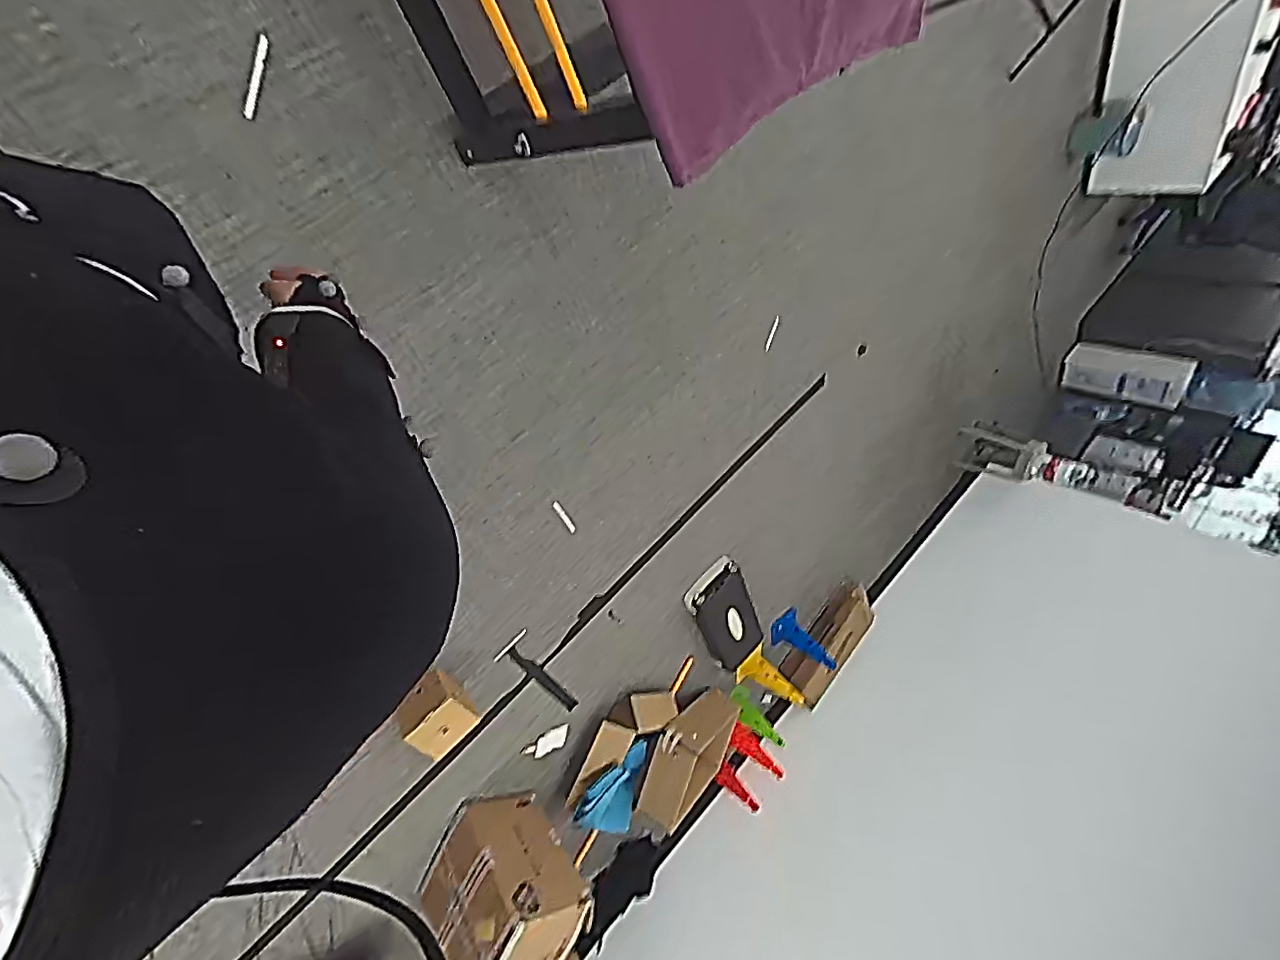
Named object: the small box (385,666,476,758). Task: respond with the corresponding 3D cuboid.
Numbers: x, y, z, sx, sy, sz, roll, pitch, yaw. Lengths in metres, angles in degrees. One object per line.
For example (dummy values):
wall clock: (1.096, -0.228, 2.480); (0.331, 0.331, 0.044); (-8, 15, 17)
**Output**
small box: (-0.644, 0.705, 1.660); (0.168, 0.176, 0.179); (-42, 133, -16)
